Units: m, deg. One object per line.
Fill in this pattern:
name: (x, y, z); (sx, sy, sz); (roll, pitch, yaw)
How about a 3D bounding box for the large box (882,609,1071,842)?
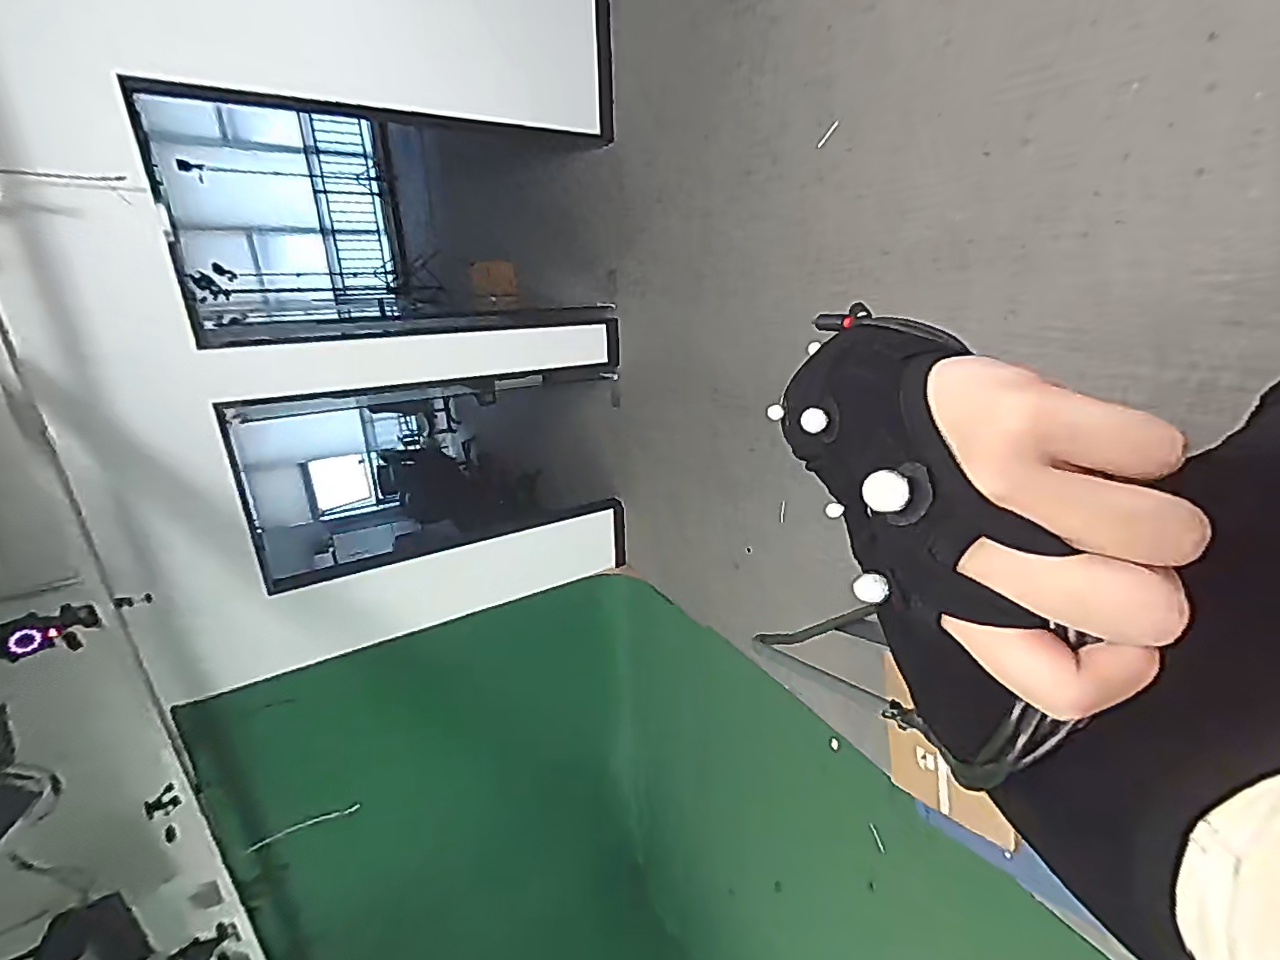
large box: (0.879, 0.602, 1.414); (0.320, 0.320, 0.408); (7, 108, 59)
